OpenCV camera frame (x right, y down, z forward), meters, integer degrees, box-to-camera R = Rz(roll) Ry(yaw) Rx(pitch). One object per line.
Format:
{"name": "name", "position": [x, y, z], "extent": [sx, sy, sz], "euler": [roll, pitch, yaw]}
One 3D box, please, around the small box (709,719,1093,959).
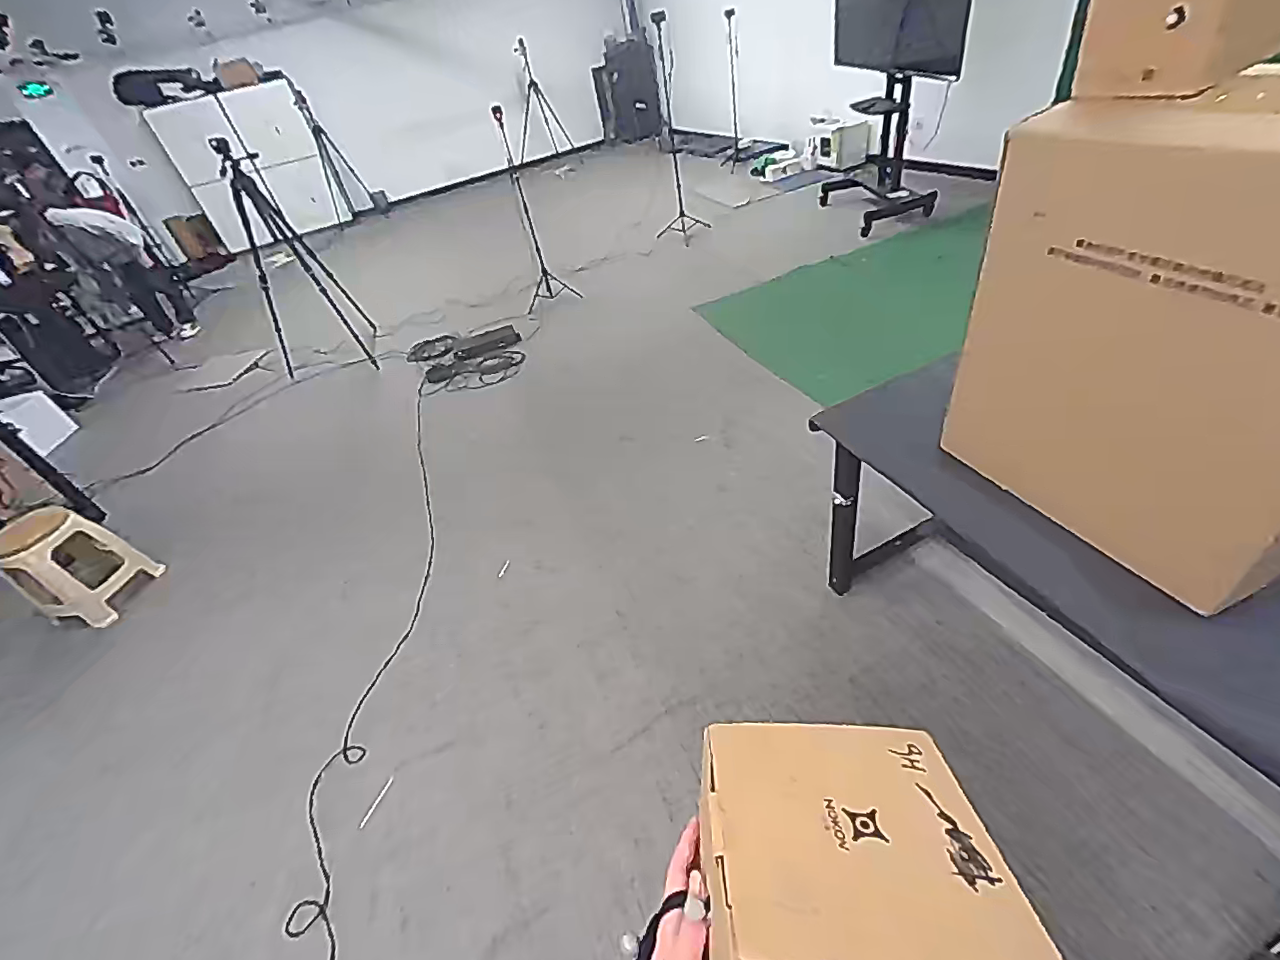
{"name": "small box", "position": [0.139, 0.290, 0.363], "extent": [0.179, 0.176, 0.168], "euler": [1, 18, 1]}

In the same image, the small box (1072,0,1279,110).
{"name": "small box", "position": [0.752, -0.636, 0.754], "extent": [0.179, 0.176, 0.168], "euler": [-26, 41, -10]}
